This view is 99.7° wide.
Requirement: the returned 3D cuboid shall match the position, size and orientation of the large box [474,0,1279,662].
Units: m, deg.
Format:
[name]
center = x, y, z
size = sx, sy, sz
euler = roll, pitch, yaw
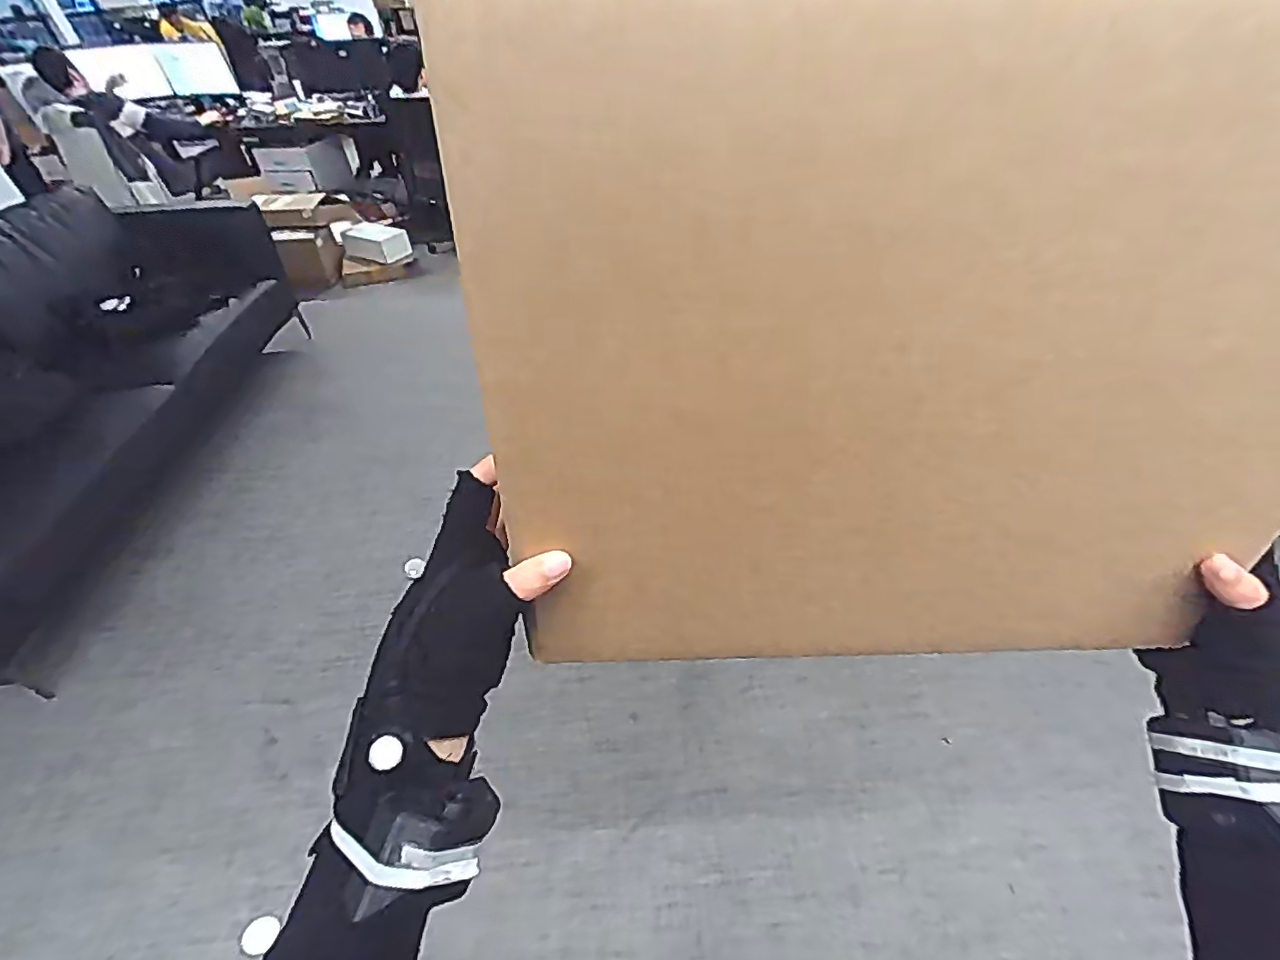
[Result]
[large box]
center = 0.134, -0.102, 0.372
size = 0.408, 0.320, 0.320
euler = -1, 34, -3
